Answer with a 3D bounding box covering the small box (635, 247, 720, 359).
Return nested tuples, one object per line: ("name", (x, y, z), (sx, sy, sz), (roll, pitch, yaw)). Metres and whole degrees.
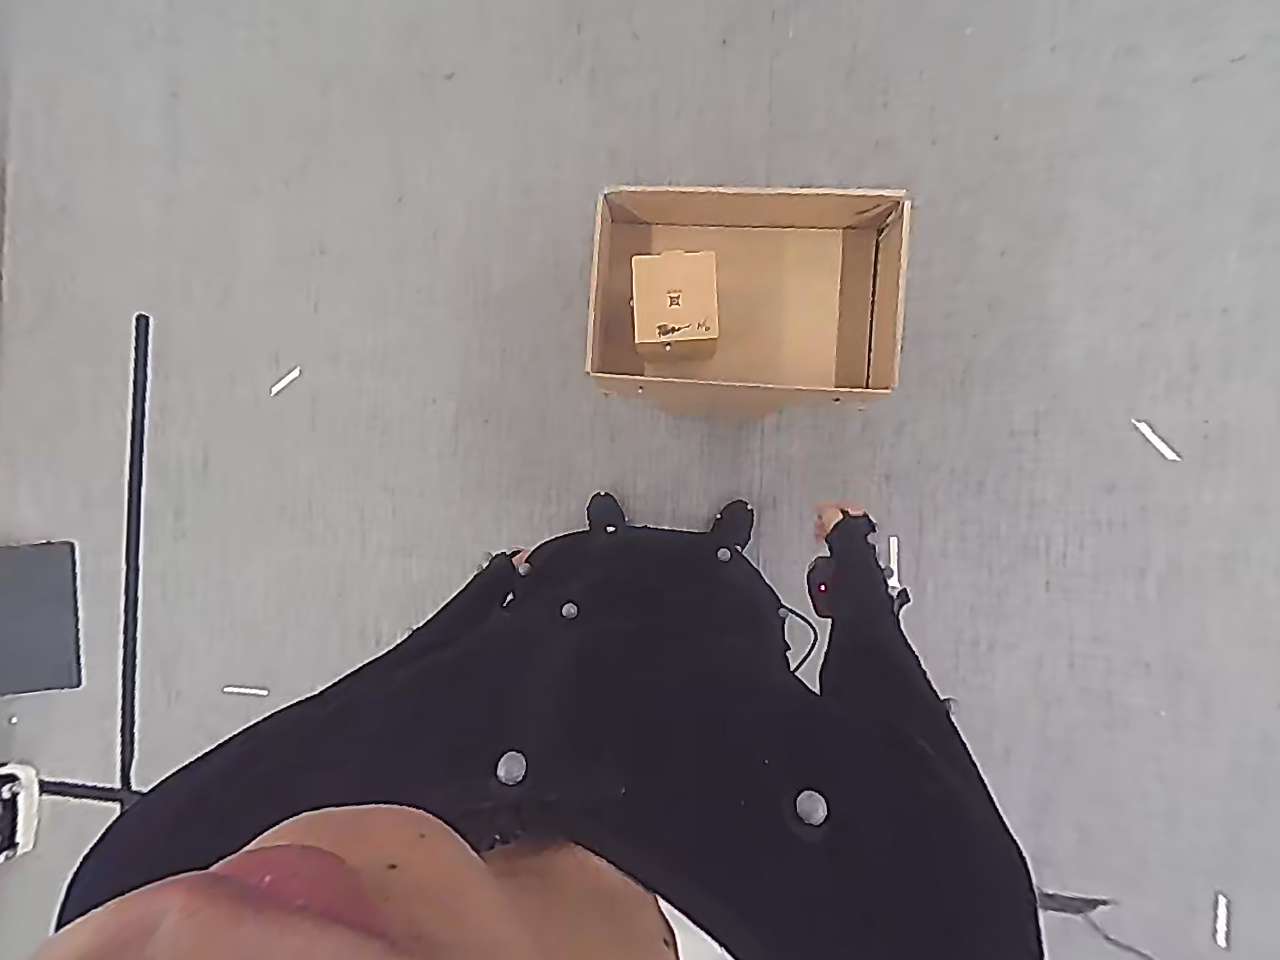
("small box", (0.080, -0.363, 1.135), (0.168, 0.176, 0.179), (-2, 89, 6))
